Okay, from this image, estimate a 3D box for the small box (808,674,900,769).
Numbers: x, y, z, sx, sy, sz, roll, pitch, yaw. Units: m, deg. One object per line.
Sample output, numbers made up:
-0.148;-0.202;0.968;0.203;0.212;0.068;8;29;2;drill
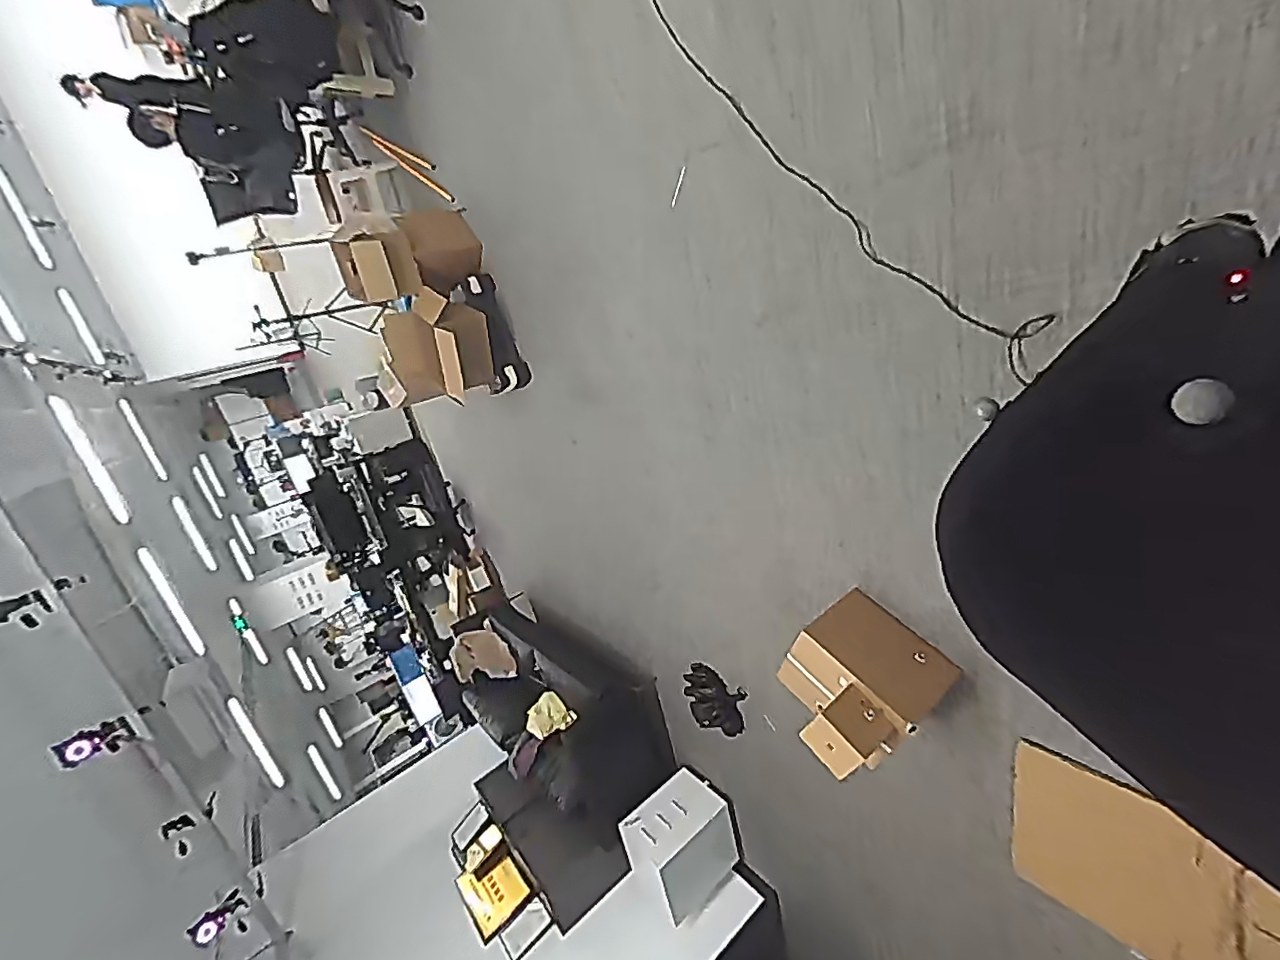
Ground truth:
0.651;0.729;1.643;0.168;0.176;0.179;44;141;29;small box
